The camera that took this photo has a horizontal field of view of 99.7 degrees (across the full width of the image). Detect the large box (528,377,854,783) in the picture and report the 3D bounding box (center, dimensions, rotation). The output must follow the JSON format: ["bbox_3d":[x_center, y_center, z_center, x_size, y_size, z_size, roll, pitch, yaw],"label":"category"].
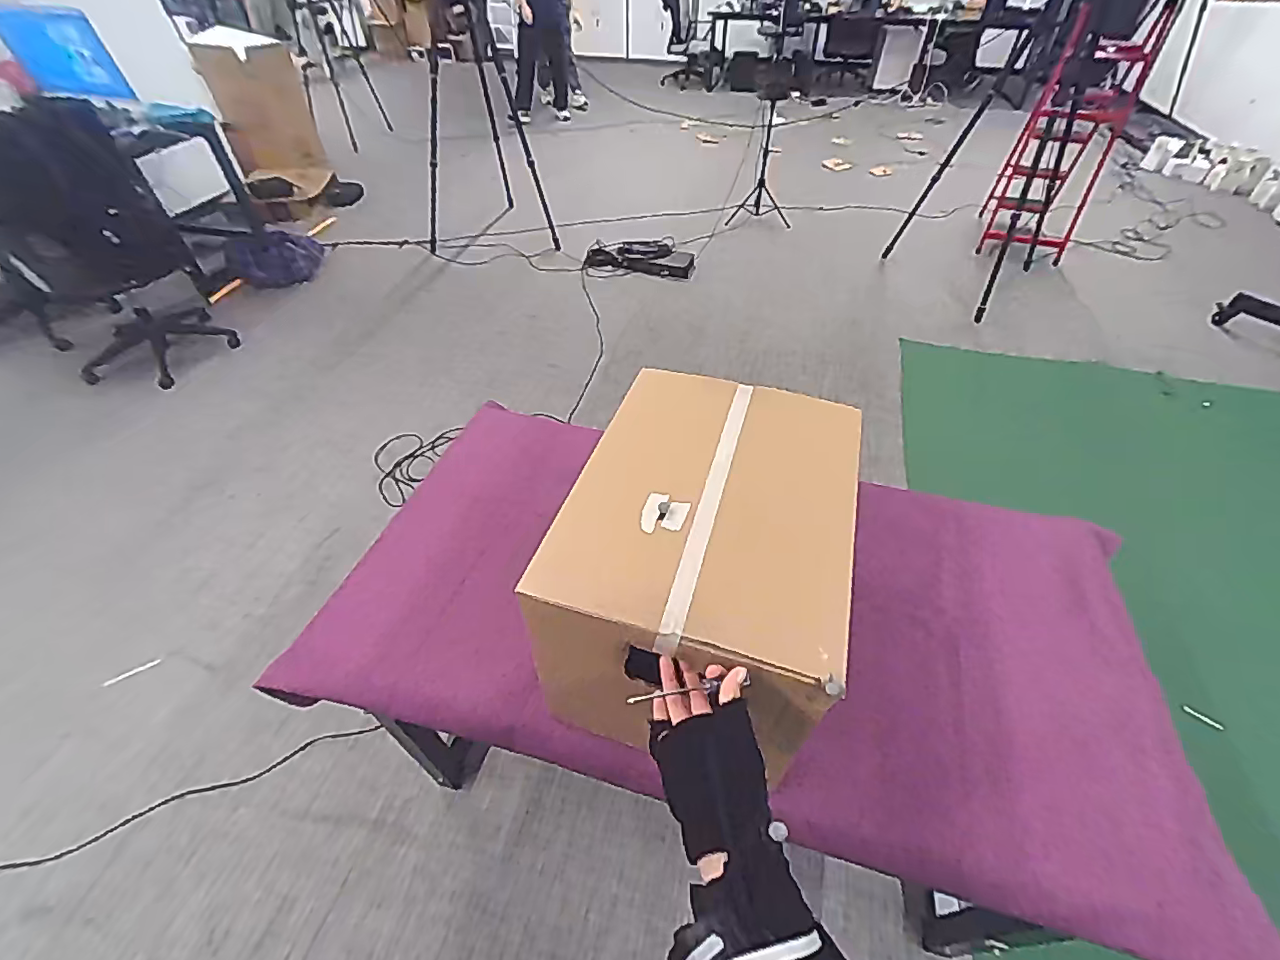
[{"bbox_3d":[0.085,0.121,0.747,0.320,0.320,0.408,14,48,12],"label":"large box"}]
